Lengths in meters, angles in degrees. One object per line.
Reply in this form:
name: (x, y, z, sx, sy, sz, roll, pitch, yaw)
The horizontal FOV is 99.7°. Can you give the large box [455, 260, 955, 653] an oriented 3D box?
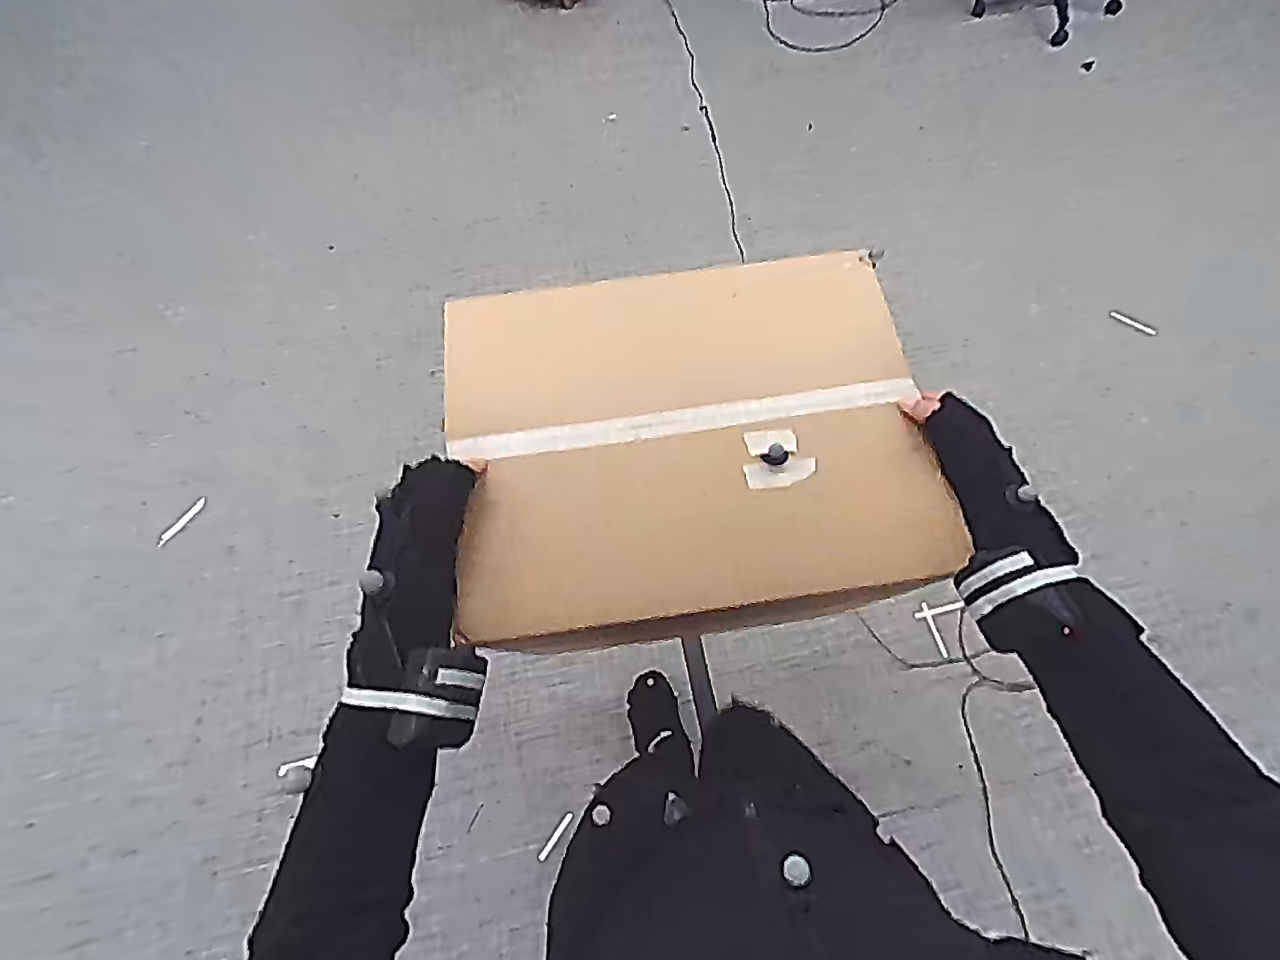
large box: (0.040, 0.002, 0.618, 0.408, 0.320, 0.320, -8, 71, -2)
